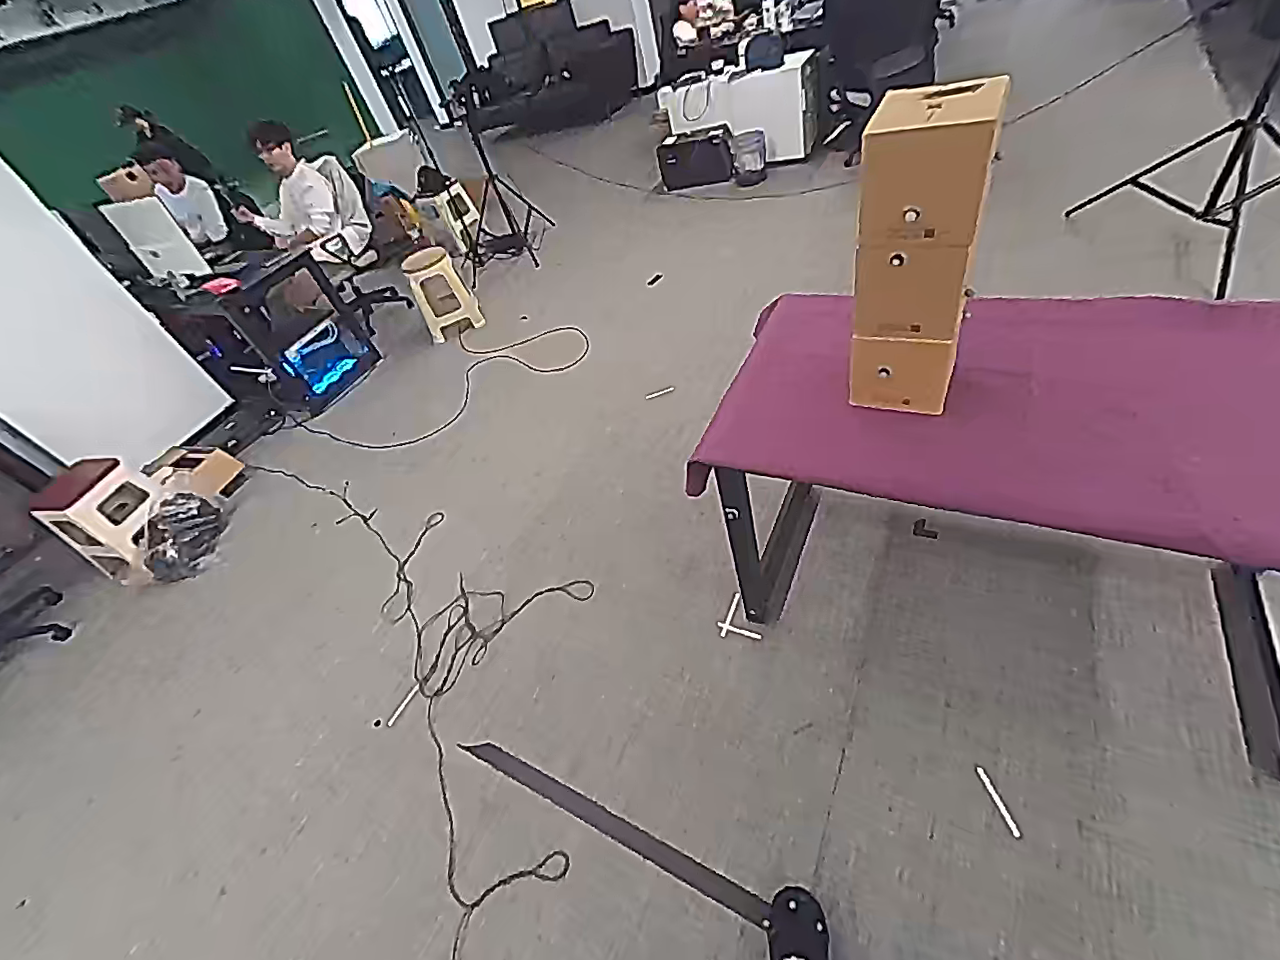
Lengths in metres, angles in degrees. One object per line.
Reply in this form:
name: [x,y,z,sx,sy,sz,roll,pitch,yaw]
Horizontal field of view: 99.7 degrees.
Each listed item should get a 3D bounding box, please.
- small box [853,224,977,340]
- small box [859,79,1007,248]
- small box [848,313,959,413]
small box: [0.475,-0.366,0.942,0.168,0.176,0.179,12,51,29]
small box: [0.438,-0.476,0.825,0.168,0.176,0.179,12,53,29]
small box: [0.513,-0.251,1.052,0.168,0.176,0.179,12,52,29]
